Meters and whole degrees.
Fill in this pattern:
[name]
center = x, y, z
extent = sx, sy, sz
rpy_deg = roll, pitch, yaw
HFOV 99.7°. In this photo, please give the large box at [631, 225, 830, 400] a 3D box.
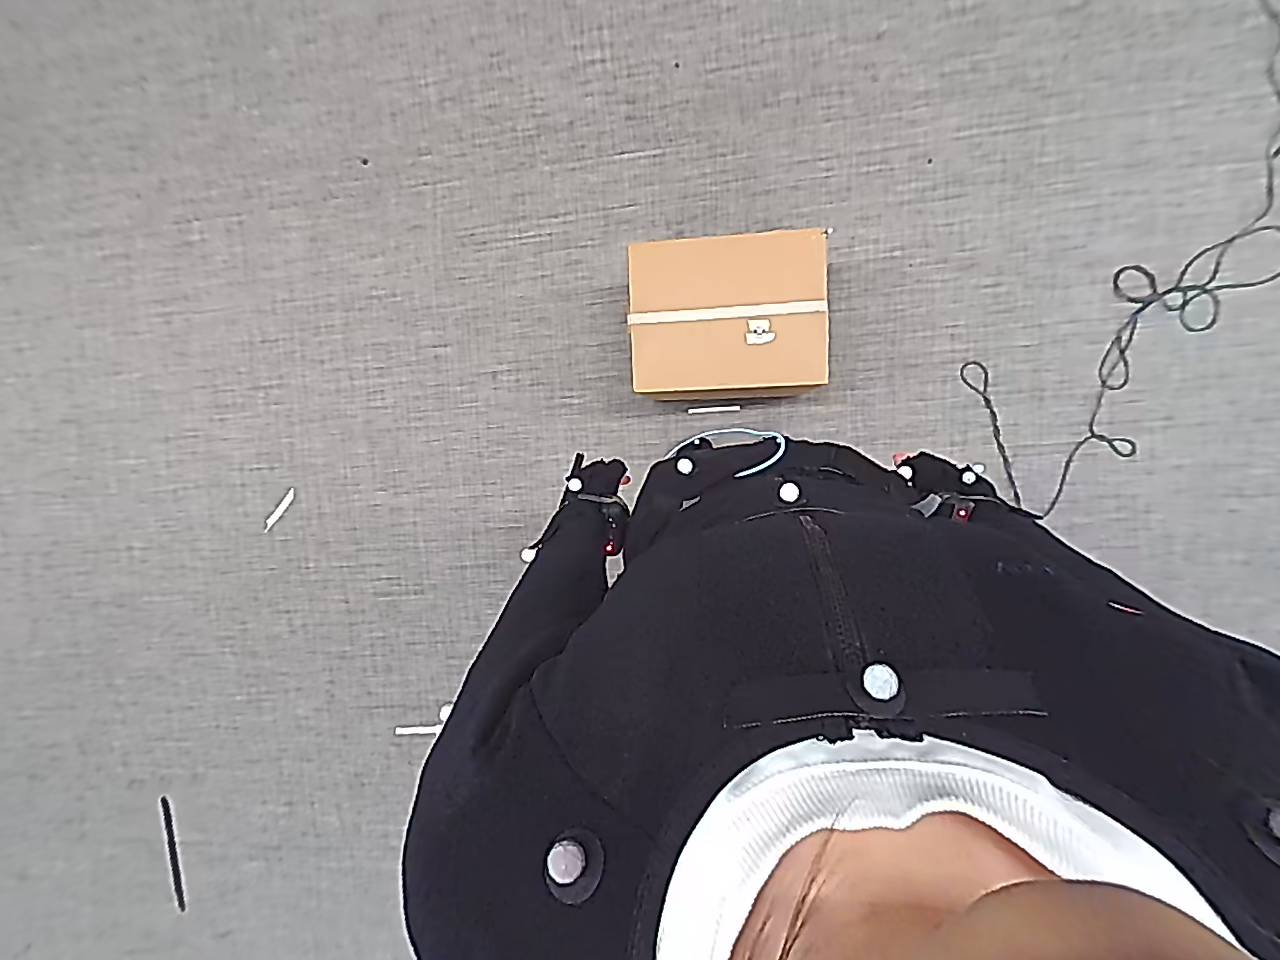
[large box]
center = 0.202, -0.364, 1.268
extent = 0.408, 0.320, 0.320
rpy_deg = -2, 95, 7
